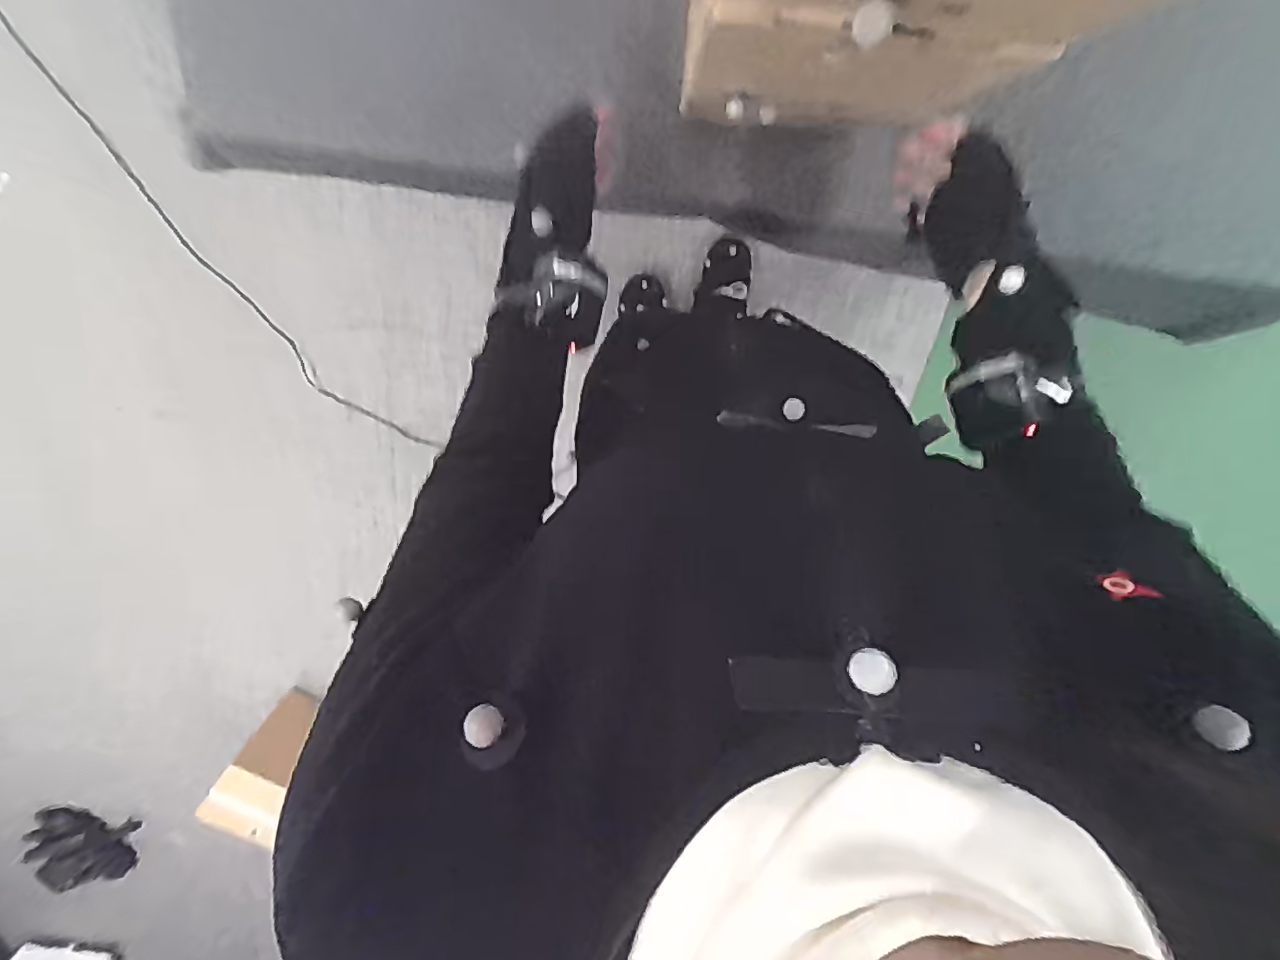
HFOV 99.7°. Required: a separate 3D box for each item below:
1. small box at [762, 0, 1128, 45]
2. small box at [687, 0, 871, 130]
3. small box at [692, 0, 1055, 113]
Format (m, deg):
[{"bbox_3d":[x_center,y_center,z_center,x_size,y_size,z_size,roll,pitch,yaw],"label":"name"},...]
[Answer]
[{"bbox_3d":[0.115,-0.253,0.136,0.168,0.176,0.179,8,115,0],"label":"small box"},{"bbox_3d":[0.131,-0.394,0.432,0.179,0.176,0.168,2,112,0],"label":"small box"},{"bbox_3d":[0.120,-0.316,0.285,0.168,0.176,0.179,6,113,0],"label":"small box"}]
